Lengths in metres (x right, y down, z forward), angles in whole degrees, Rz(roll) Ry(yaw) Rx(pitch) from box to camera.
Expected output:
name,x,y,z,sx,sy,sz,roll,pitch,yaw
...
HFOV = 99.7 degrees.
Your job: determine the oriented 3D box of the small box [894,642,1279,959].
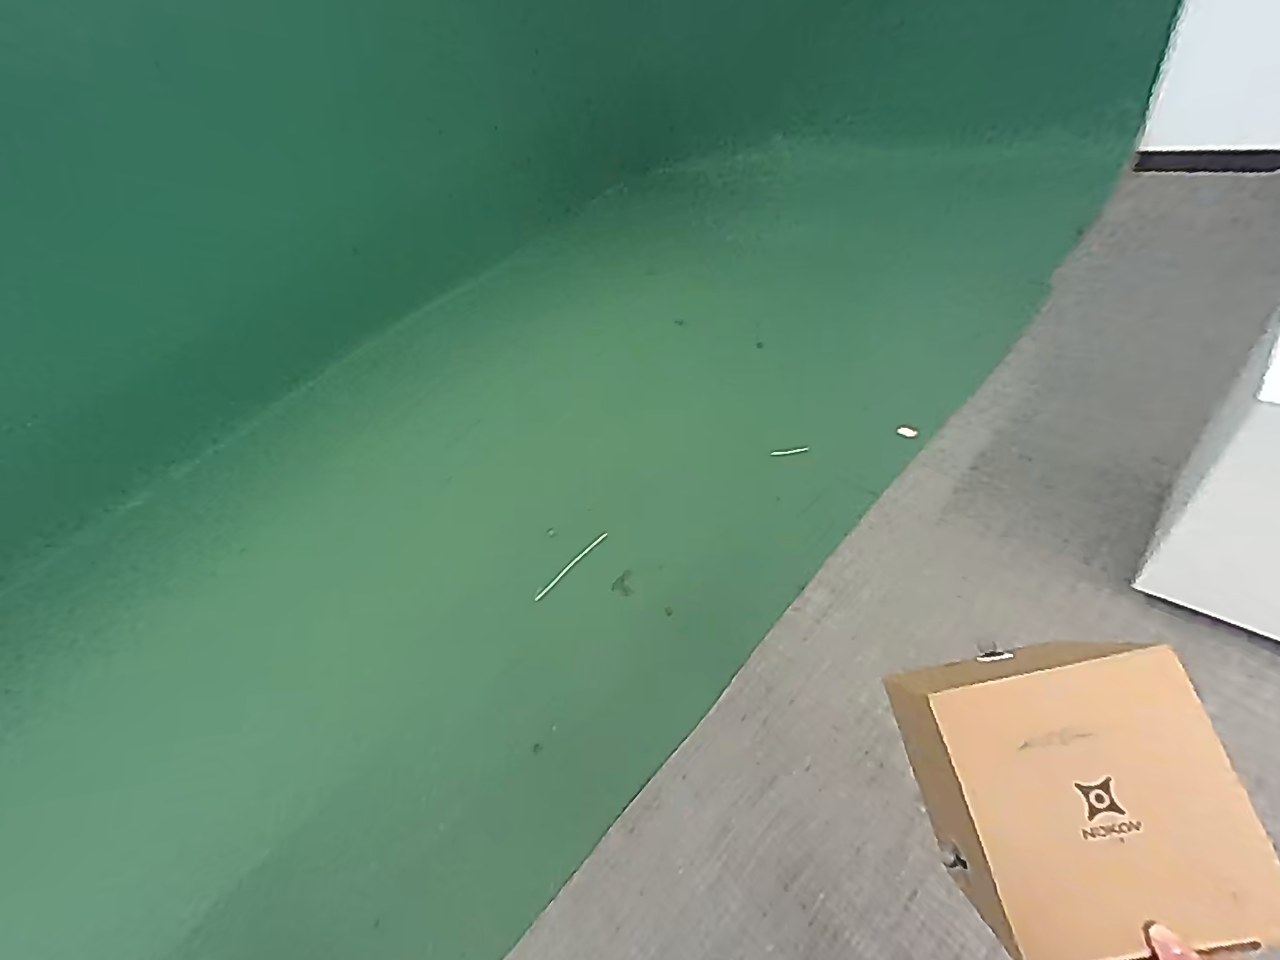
name,x,y,z,sx,sy,sz,roll,pitch,yaw
small box,0.328,0.234,0.429,0.168,0.176,0.179,-16,71,8
